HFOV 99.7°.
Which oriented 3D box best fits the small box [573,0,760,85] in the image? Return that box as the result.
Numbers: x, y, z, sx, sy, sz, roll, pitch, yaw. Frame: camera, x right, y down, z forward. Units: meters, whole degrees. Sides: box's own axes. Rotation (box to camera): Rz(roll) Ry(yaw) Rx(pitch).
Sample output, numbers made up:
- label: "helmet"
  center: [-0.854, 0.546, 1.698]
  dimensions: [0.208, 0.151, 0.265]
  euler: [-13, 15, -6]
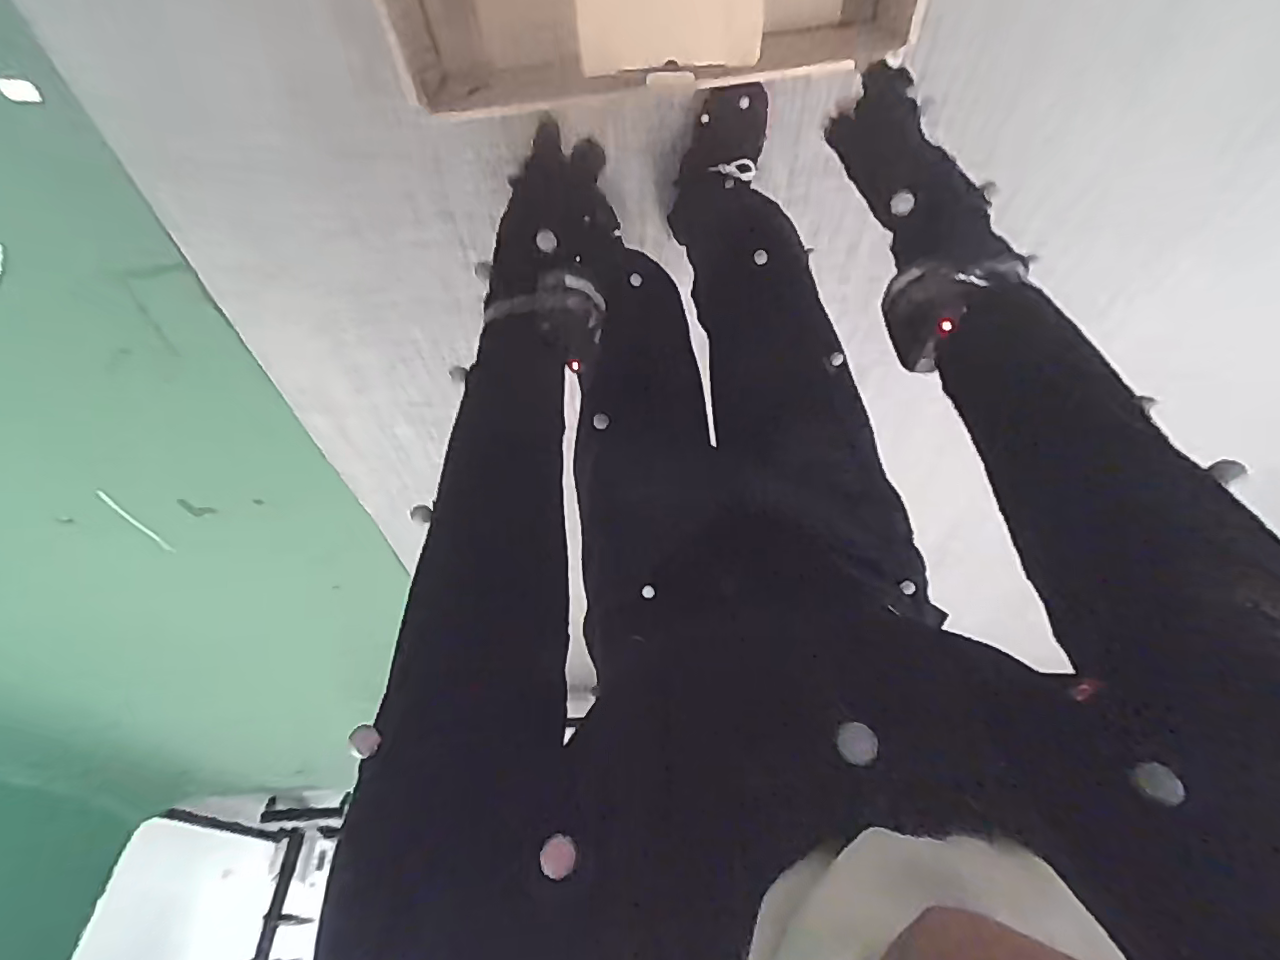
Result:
- label: "small box"
  center: [0.019, -0.494, 0.497]
  dimensions: [0.168, 0.176, 0.179]
  euler: [-4, 140, -1]
